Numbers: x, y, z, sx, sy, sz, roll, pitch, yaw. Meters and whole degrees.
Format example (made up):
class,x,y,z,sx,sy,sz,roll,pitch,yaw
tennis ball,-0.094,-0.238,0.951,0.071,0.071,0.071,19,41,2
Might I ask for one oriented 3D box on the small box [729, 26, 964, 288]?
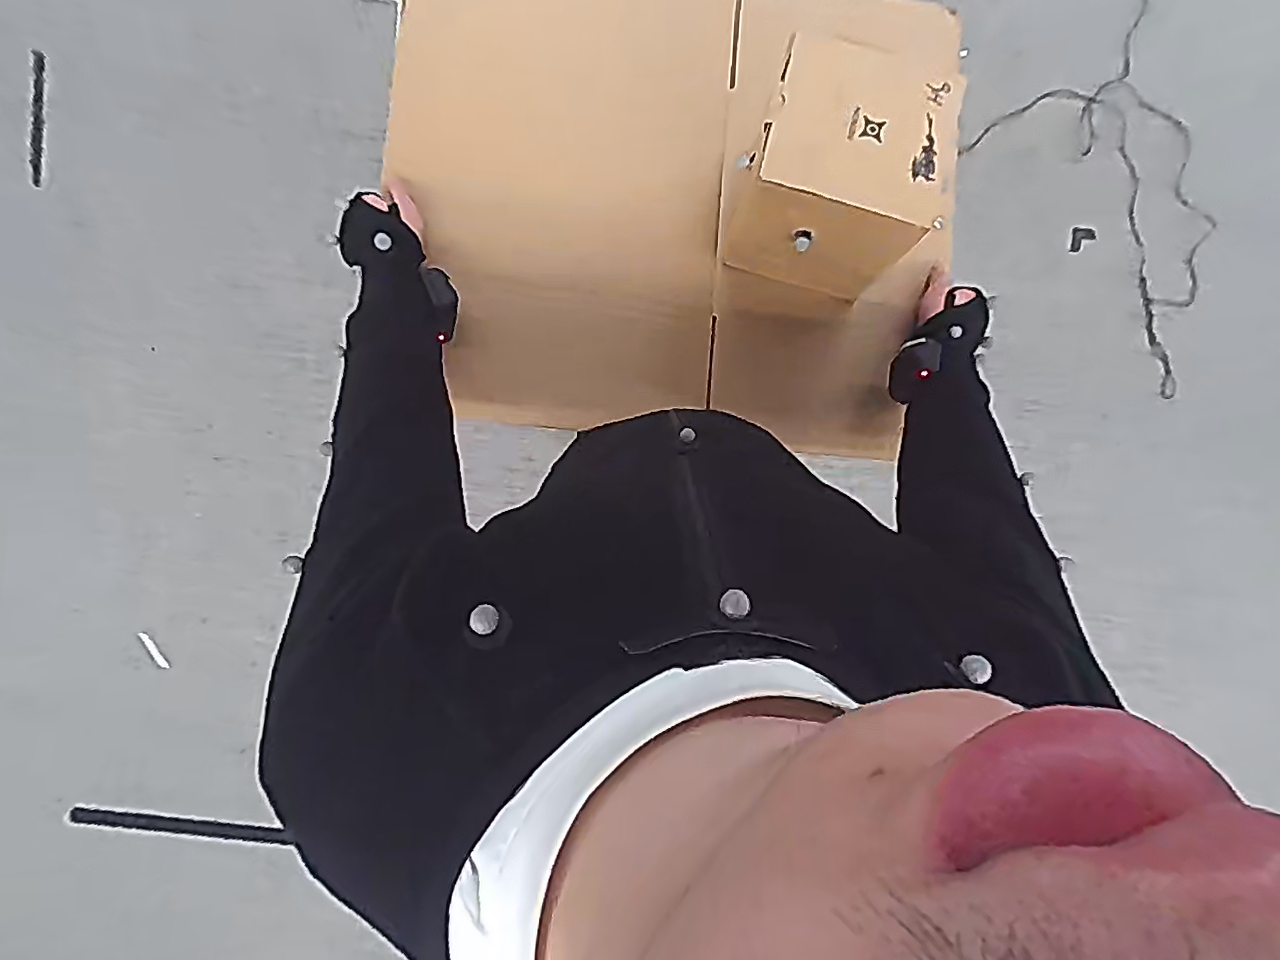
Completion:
class,x,y,z,sx,sy,sz,roll,pitch,yaw
small box,0.211,-0.338,0.601,0.179,0.176,0.168,16,86,0
